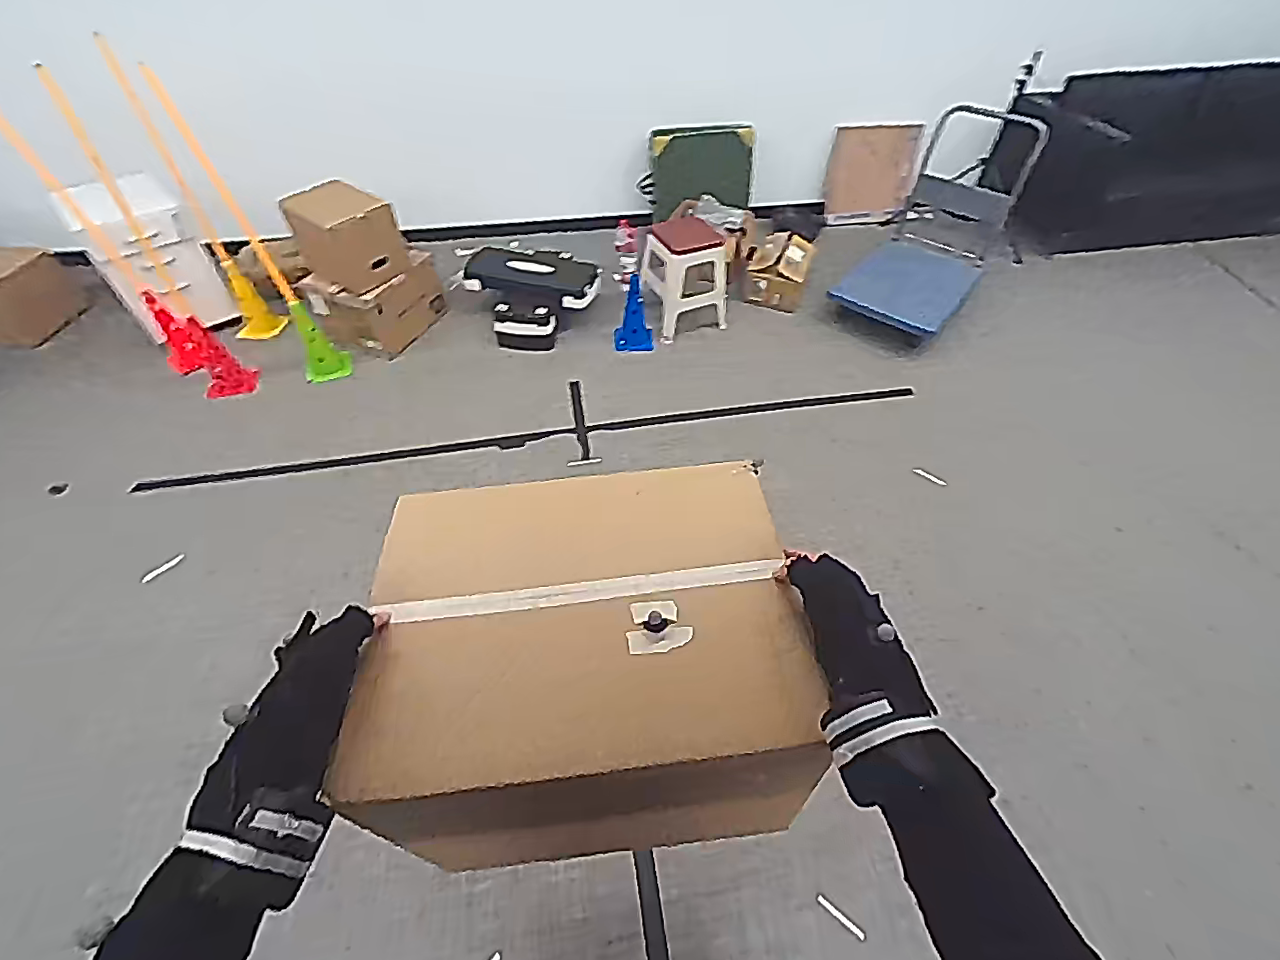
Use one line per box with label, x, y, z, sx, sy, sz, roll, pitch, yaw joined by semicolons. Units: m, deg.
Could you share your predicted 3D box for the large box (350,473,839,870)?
large box;-0.043;0.224;0.639;0.408;0.320;0.320;-6;46;-2
